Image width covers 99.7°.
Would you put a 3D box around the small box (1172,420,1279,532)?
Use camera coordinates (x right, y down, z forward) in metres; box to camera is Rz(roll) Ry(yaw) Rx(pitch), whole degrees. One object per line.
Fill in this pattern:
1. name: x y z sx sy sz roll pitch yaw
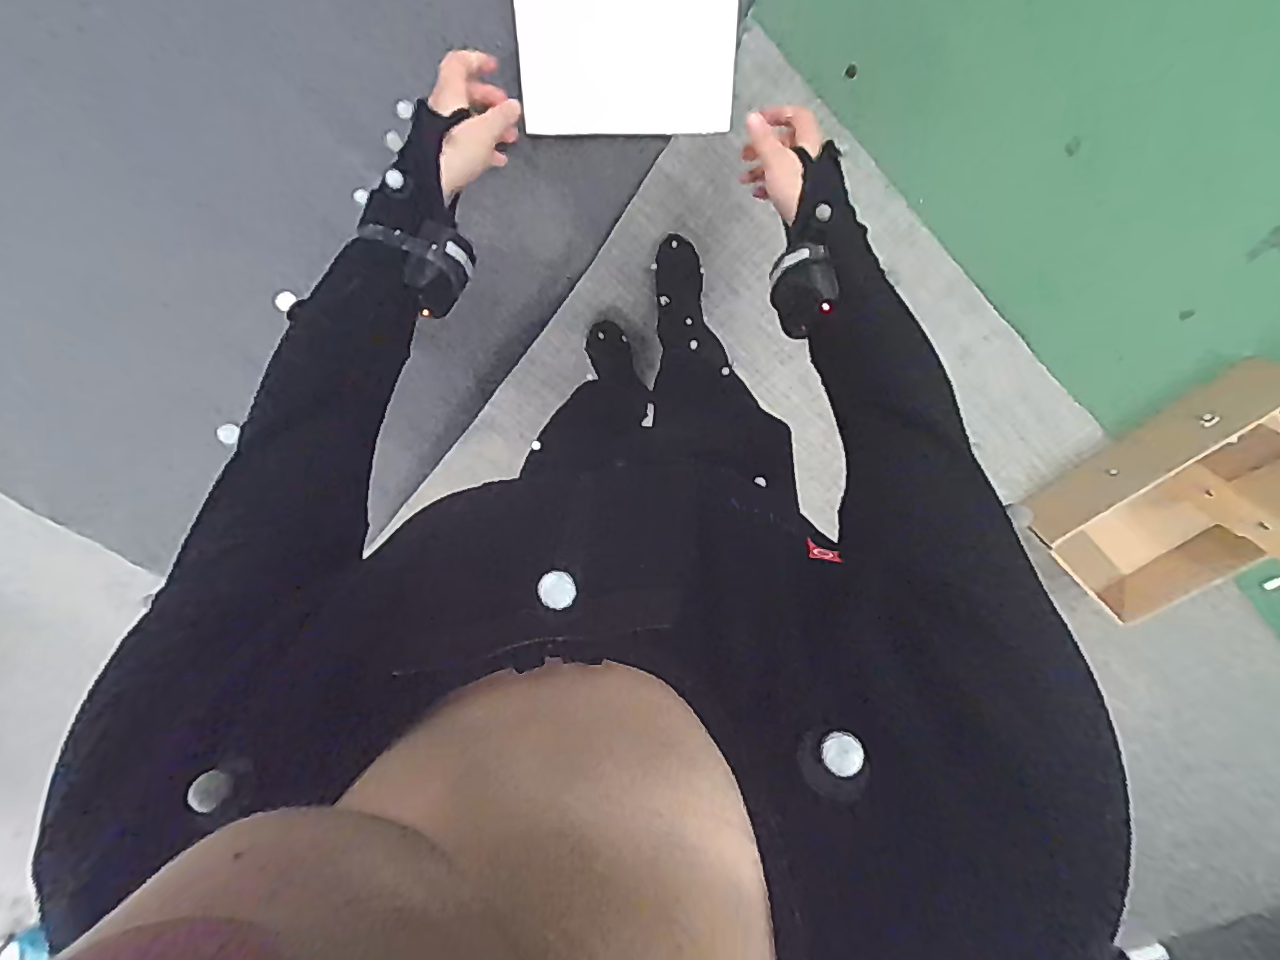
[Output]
1. small box: 1.441 -0.014 1.296 0.168 0.176 0.179 -28 114 19

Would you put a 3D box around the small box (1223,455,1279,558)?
1. small box: 1.411 0.058 1.151 0.179 0.176 0.168 -33 113 21
